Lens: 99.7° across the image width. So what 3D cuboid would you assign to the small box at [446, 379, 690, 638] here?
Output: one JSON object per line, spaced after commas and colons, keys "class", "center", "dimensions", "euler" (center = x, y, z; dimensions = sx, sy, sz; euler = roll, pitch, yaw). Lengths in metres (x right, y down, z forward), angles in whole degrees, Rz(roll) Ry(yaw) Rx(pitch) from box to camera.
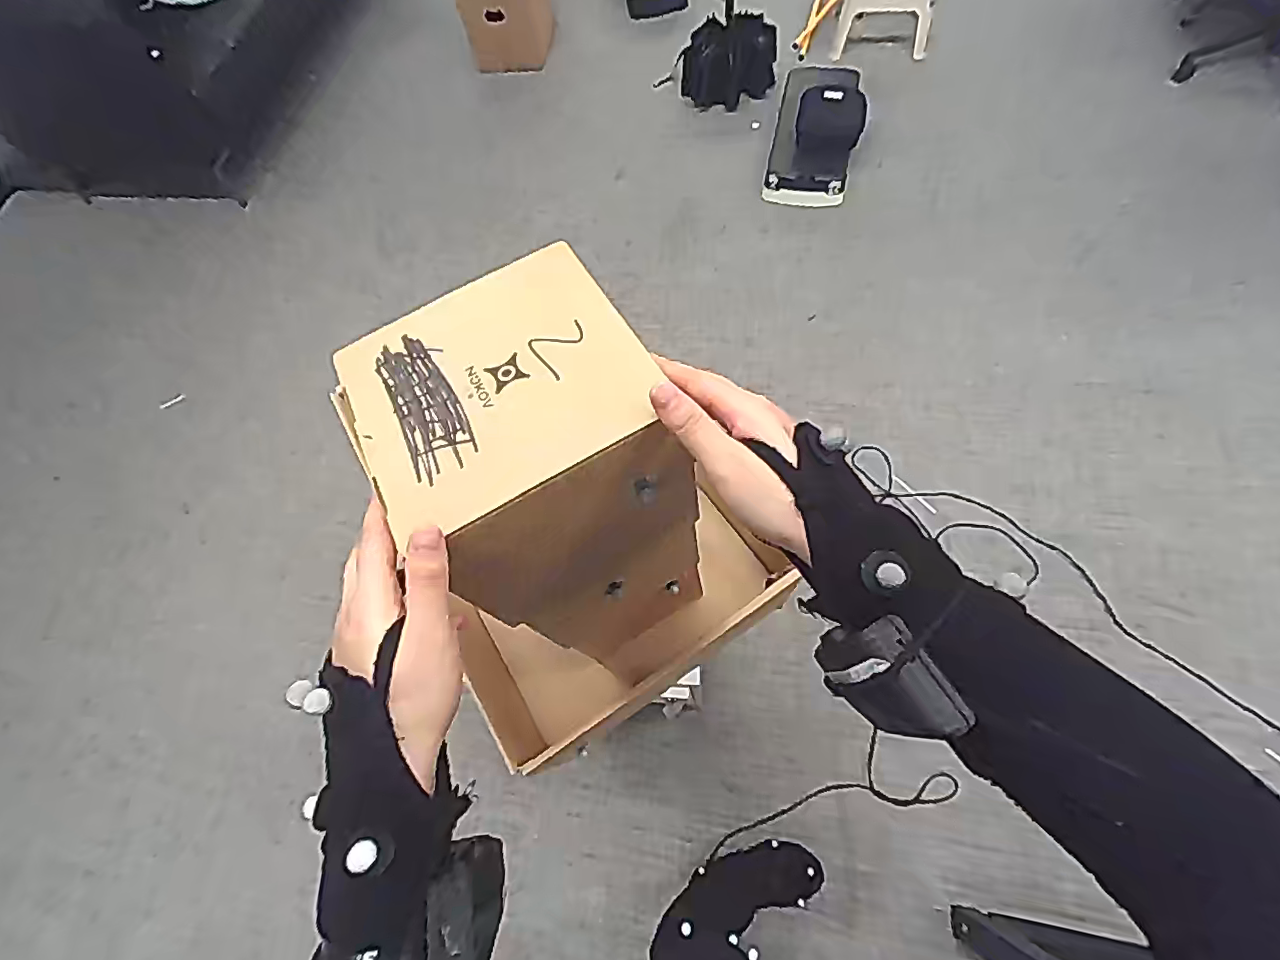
{"class": "small box", "center": [-0.060, 0.037, 0.558], "dimensions": [0.179, 0.176, 0.168], "euler": [-33, 63, -6]}
